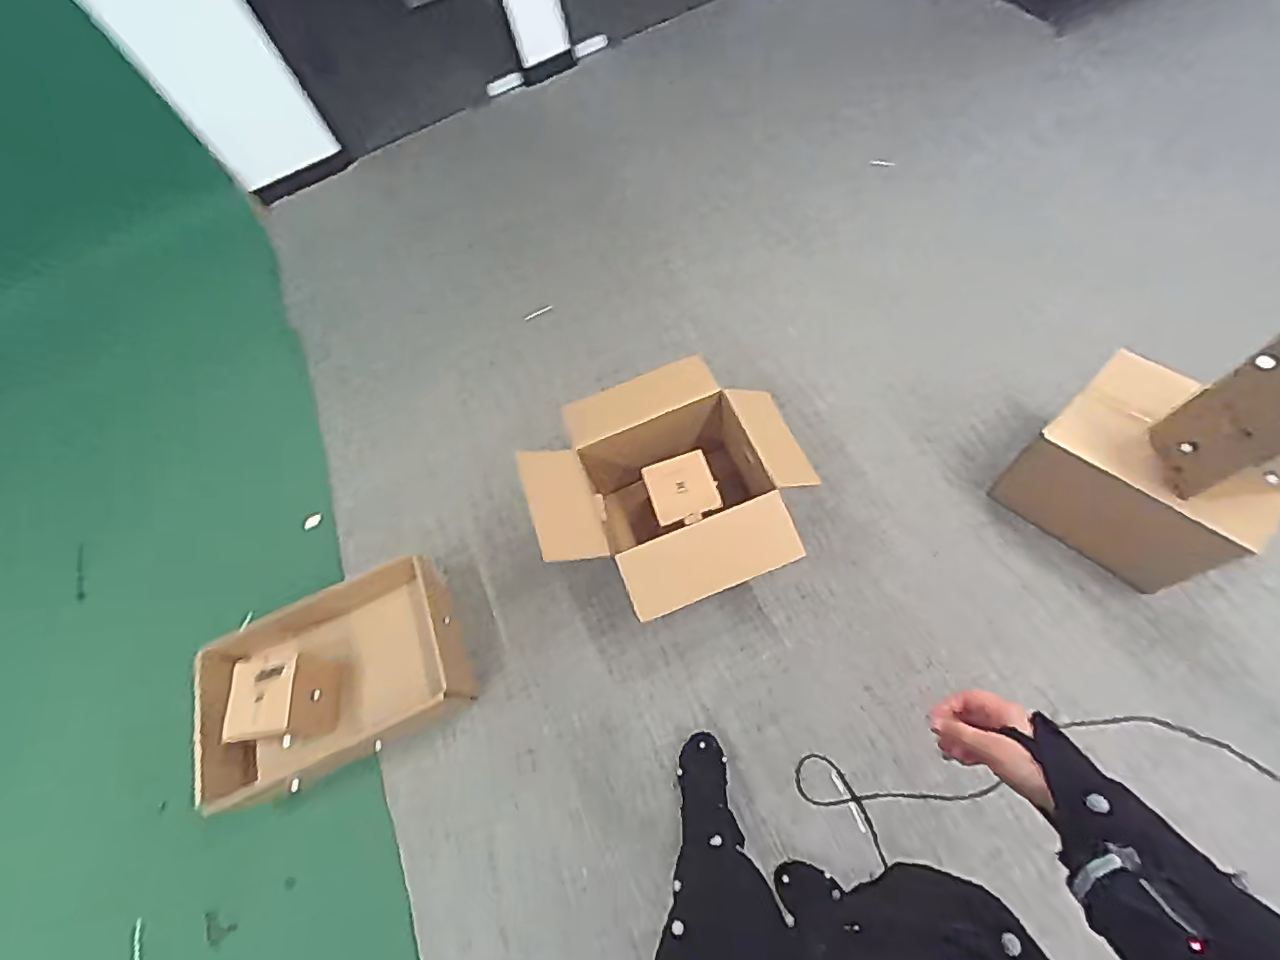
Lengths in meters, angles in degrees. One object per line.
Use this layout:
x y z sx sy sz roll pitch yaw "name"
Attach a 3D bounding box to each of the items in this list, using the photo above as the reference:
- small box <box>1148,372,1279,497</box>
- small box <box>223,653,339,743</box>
1.123 -0.079 1.021 0.179 0.176 0.168 -8 63 9 "small box"
-0.885 0.550 1.353 0.168 0.176 0.179 -12 62 3 "small box"
